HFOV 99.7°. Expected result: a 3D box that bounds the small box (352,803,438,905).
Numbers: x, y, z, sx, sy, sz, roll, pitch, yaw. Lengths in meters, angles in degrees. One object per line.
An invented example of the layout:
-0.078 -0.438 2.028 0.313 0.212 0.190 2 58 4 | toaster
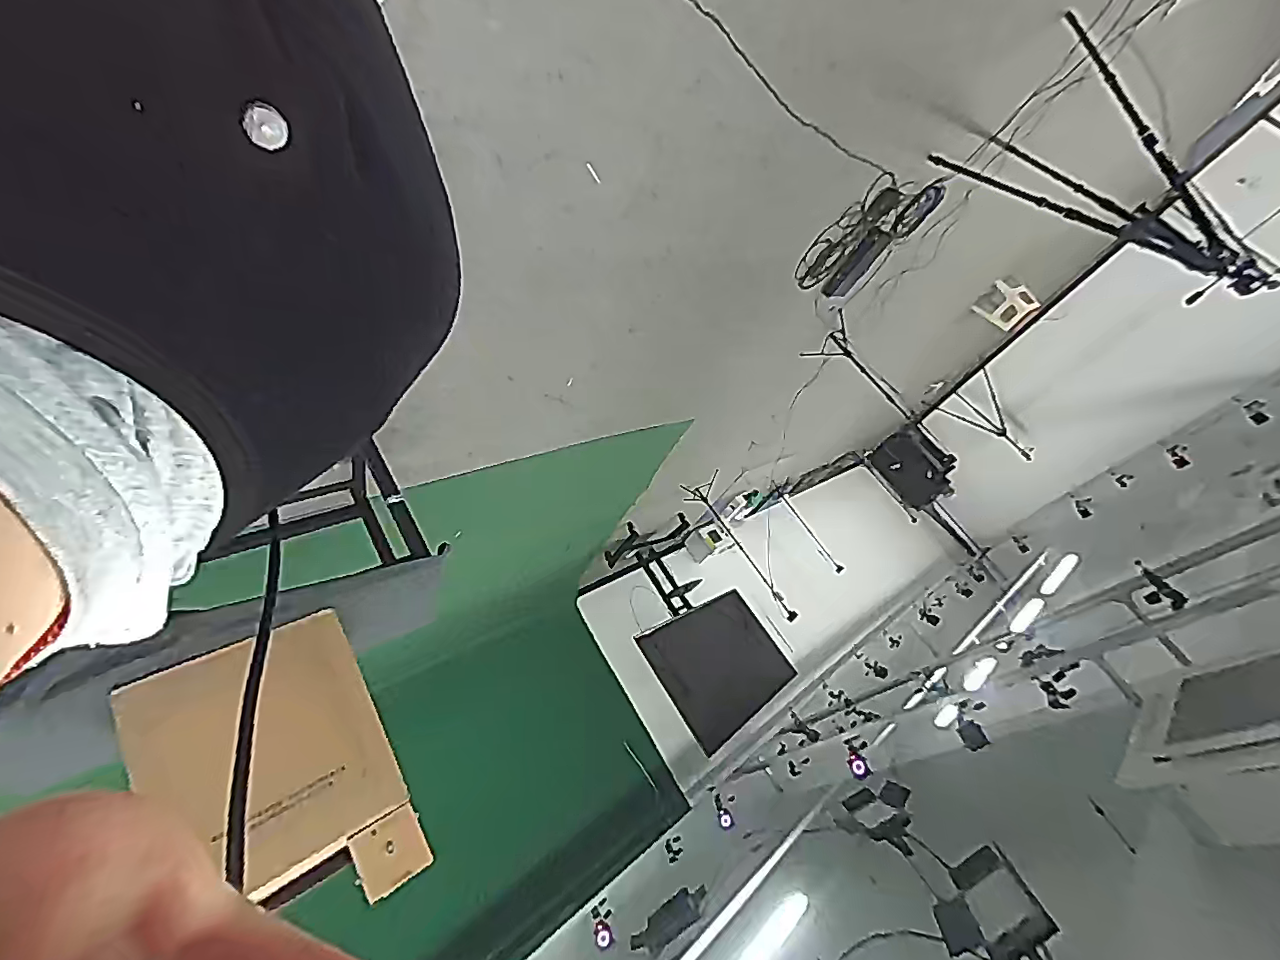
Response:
-0.683 1.032 1.501 0.168 0.176 0.179 -21 156 -37 | small box
